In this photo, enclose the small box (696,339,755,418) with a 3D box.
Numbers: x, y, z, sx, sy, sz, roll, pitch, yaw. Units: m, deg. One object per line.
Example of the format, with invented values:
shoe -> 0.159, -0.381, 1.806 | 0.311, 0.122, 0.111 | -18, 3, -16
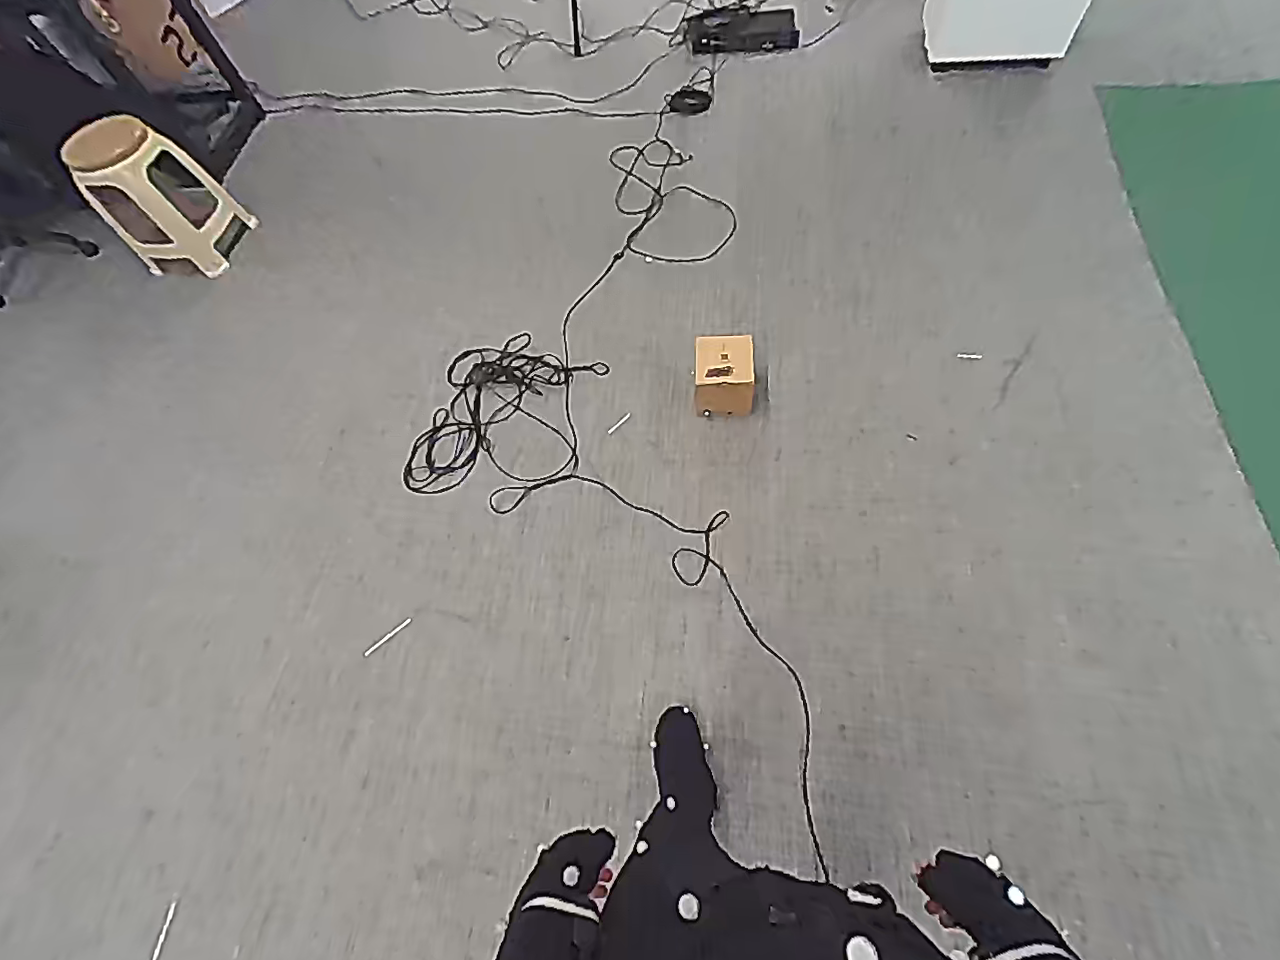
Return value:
small box -> 0.254, -0.297, 1.618 | 0.168, 0.176, 0.179 | 0, 63, 7
